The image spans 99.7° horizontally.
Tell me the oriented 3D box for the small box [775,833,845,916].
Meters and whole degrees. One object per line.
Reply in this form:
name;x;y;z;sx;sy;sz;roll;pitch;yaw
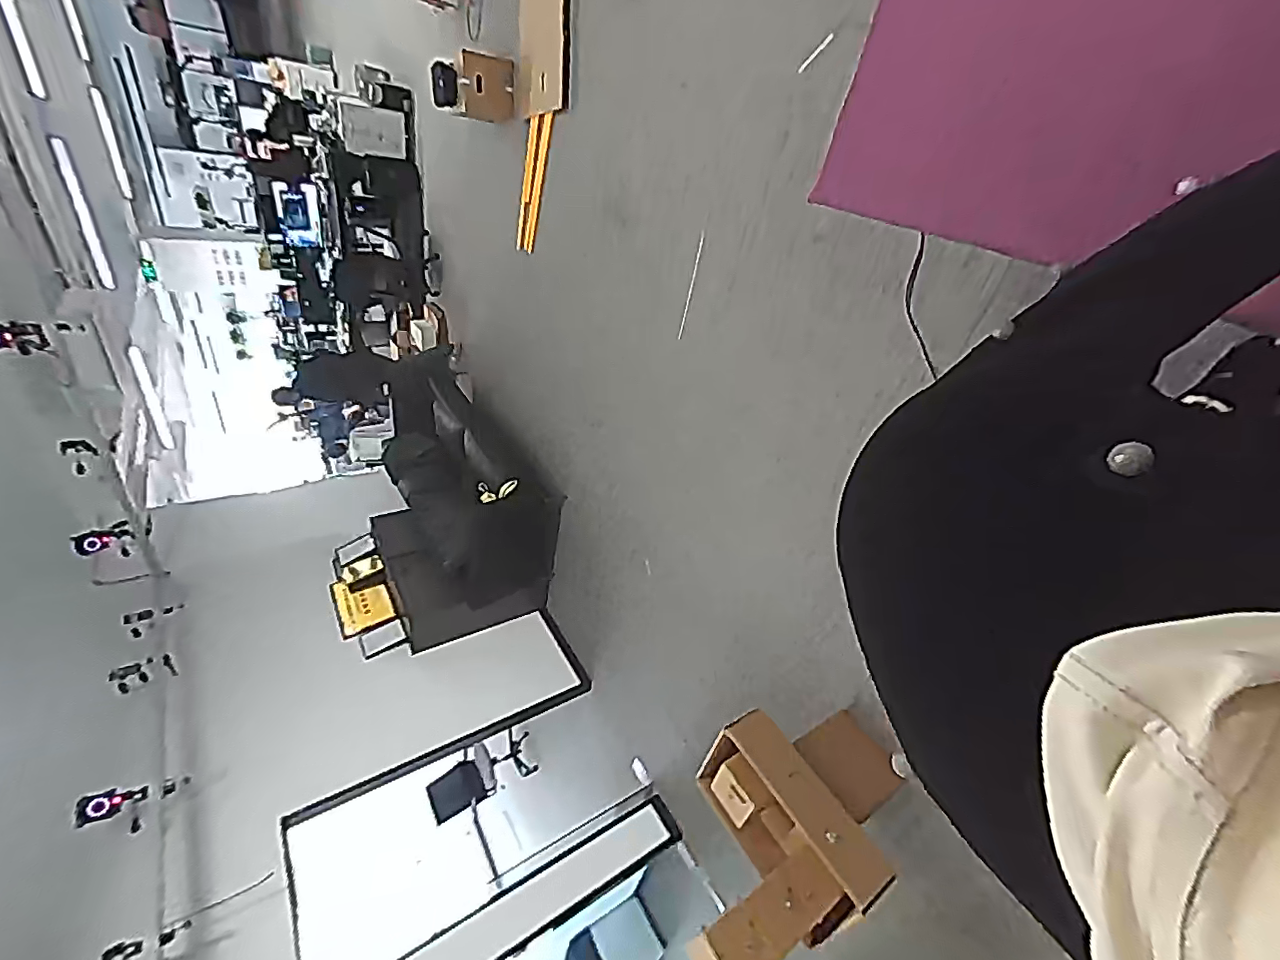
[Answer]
small box;0.536;1.305;1.767;0.168;0.176;0.179;47;137;36

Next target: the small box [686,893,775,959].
small box;0.267;1.368;1.592;0.168;0.176;0.179;50;138;33

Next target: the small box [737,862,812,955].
small box;0.401;1.337;1.679;0.168;0.176;0.179;49;138;34

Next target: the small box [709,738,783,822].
small box;0.377;1.051;1.905;0.168;0.176;0.179;46;137;38
